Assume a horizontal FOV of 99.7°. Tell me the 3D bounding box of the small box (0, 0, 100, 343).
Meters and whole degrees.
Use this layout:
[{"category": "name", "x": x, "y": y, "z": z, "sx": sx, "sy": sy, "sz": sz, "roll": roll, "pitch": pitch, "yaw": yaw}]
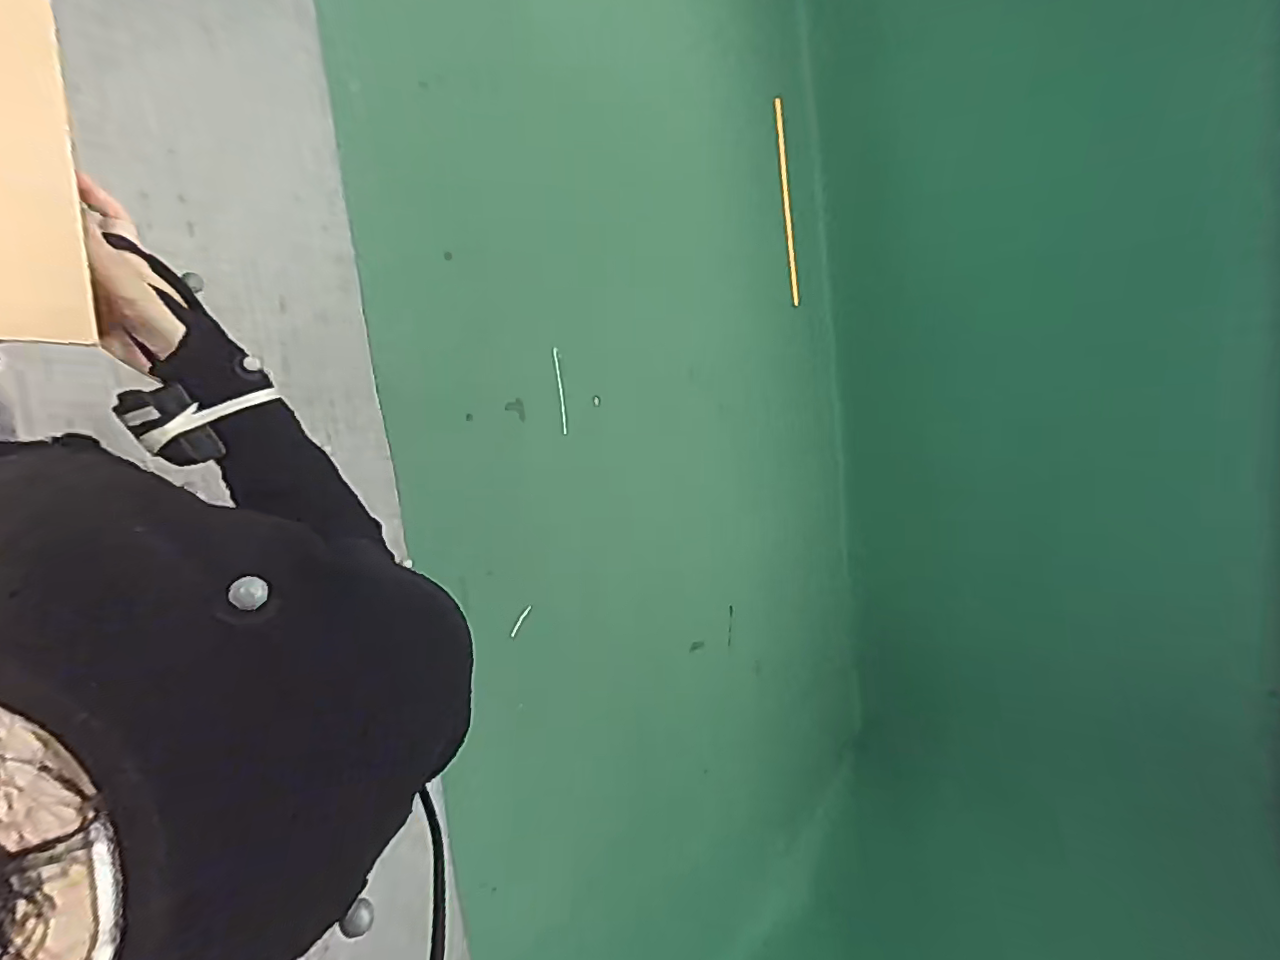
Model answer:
[{"category": "small box", "x": -0.409, "y": -0.162, "z": 0.267, "sx": 0.179, "sy": 0.176, "sz": 0.168, "roll": -9, "pitch": 107, "yaw": -49}]
